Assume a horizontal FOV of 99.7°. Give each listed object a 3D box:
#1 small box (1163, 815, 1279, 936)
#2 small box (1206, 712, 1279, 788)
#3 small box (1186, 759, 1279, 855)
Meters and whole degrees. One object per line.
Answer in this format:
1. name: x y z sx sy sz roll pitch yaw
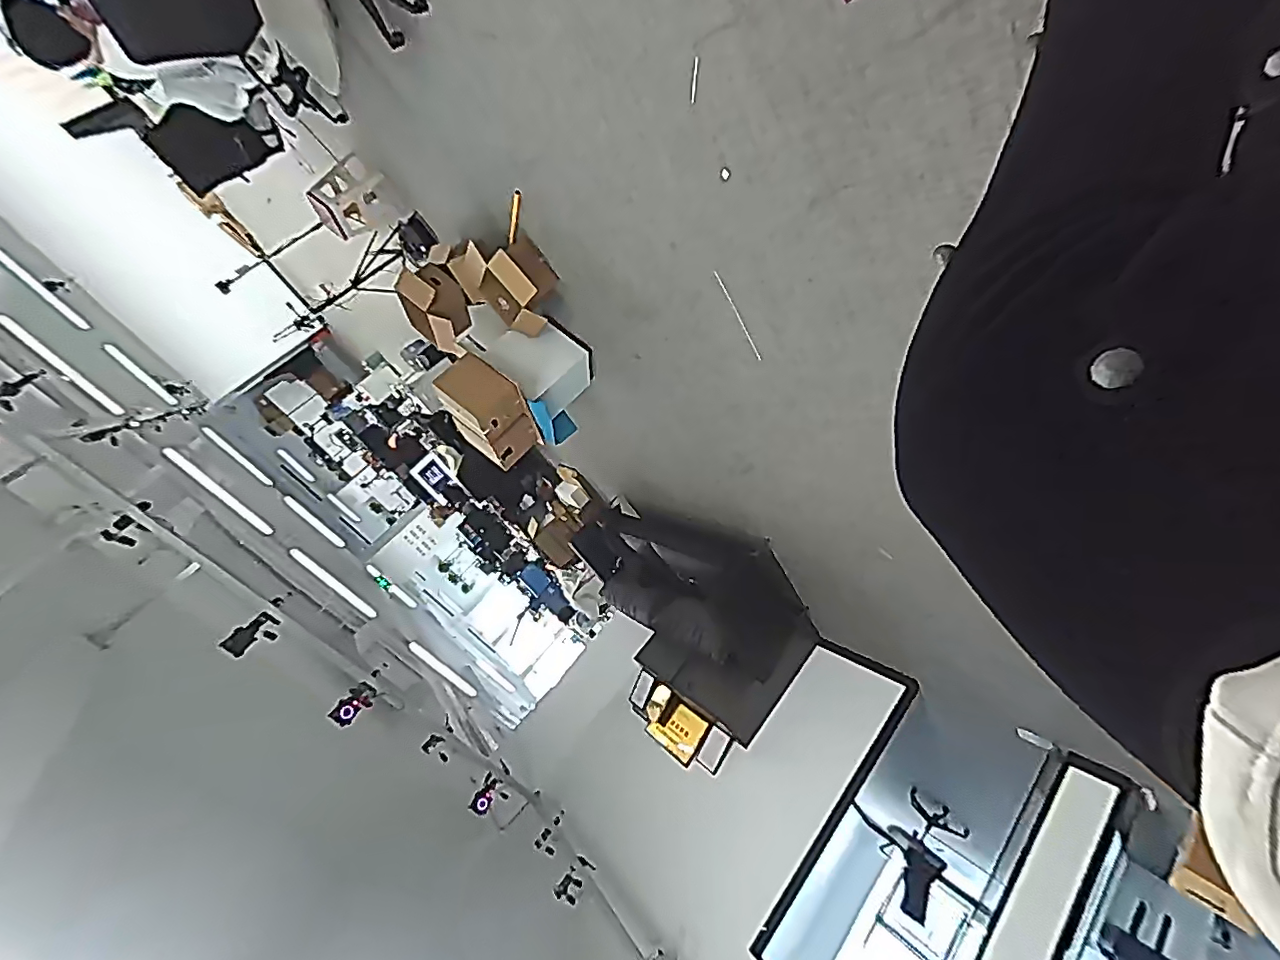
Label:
1. small box: 1.495 1.008 1.386 0.168 0.176 0.179 24 150 45
2. small box: 1.709 0.789 1.500 0.168 0.176 0.179 16 145 52
3. small box: 1.600 0.895 1.443 0.168 0.176 0.179 16 145 53
